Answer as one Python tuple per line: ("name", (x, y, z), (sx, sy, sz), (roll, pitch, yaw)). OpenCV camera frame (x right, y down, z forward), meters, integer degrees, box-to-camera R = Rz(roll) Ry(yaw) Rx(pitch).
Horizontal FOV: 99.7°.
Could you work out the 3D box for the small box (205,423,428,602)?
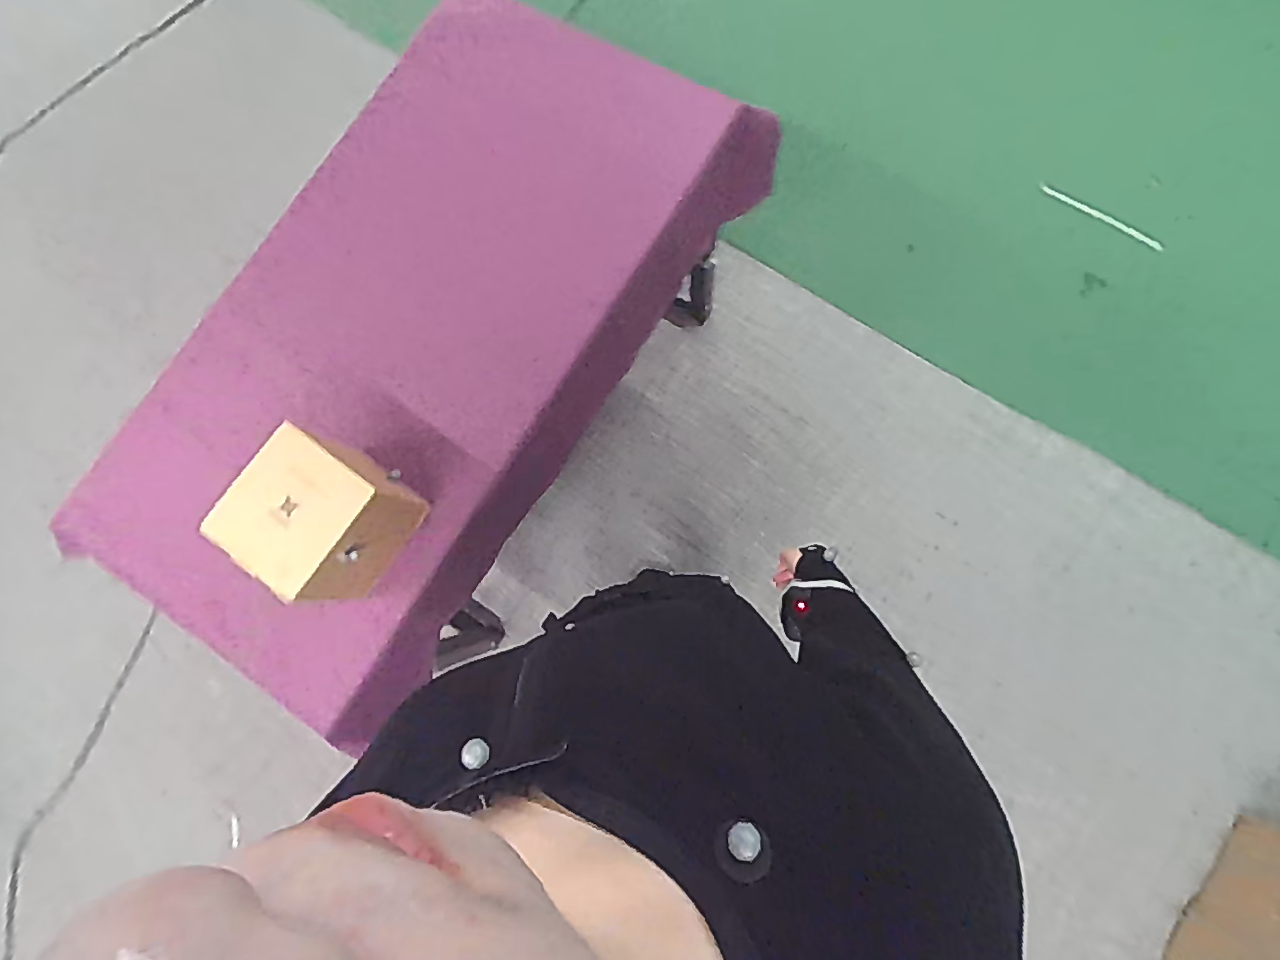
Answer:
("small box", (-0.440, 0.052, 0.767), (0.168, 0.176, 0.179), (34, 84, 9))
